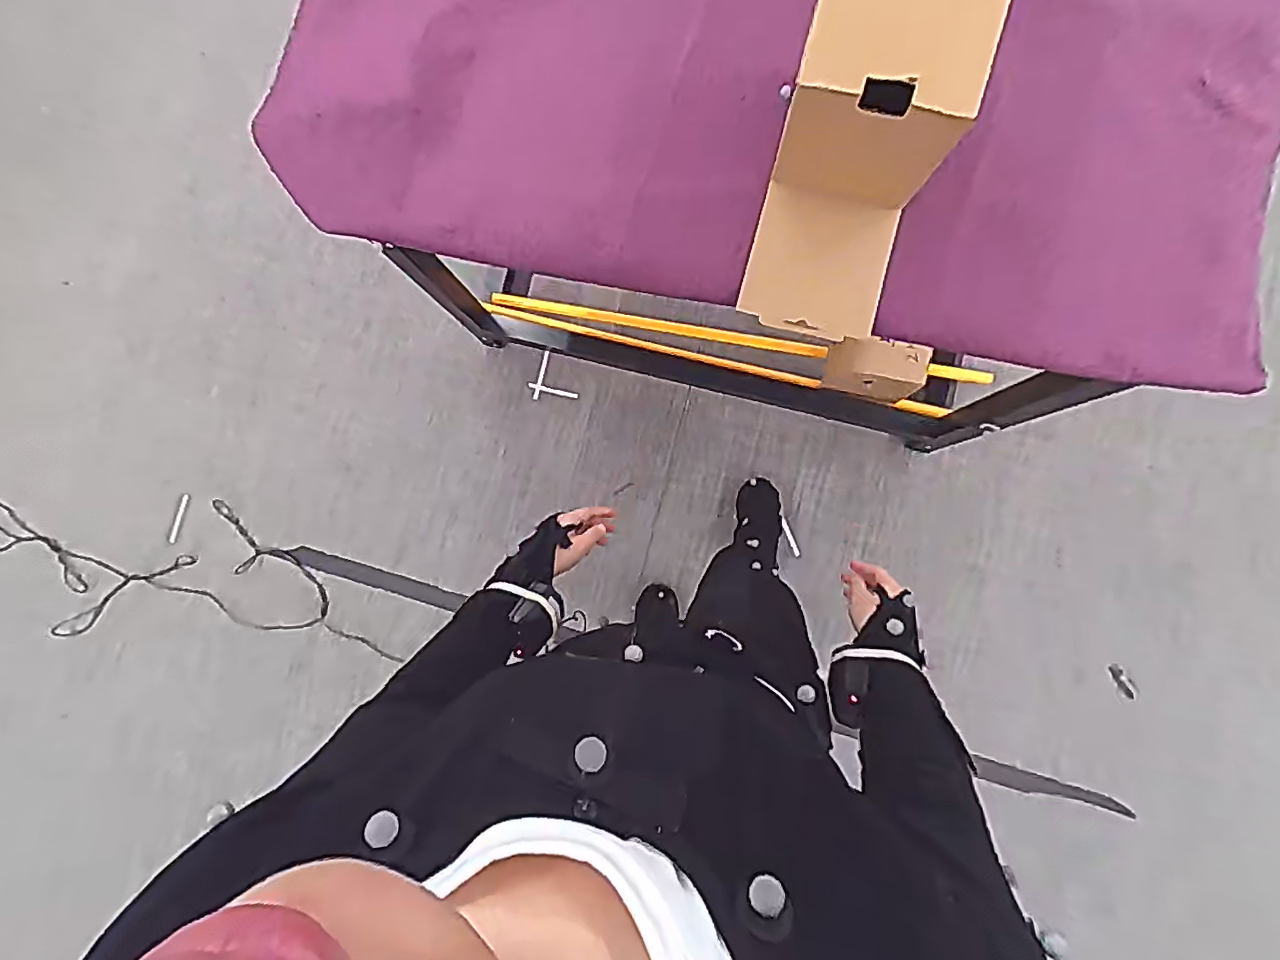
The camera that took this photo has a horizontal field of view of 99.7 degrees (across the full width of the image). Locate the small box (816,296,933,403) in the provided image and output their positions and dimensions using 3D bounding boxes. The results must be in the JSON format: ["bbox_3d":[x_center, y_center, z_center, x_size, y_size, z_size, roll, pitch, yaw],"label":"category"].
[{"bbox_3d":[0.500,-0.277,1.179,0.179,0.176,0.168,13,87,6],"label":"small box"}]

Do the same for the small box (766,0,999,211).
[{"bbox_3d":[0.247,-0.425,0.576,0.168,0.179,0.176,15,93,4],"label":"small box"}]
